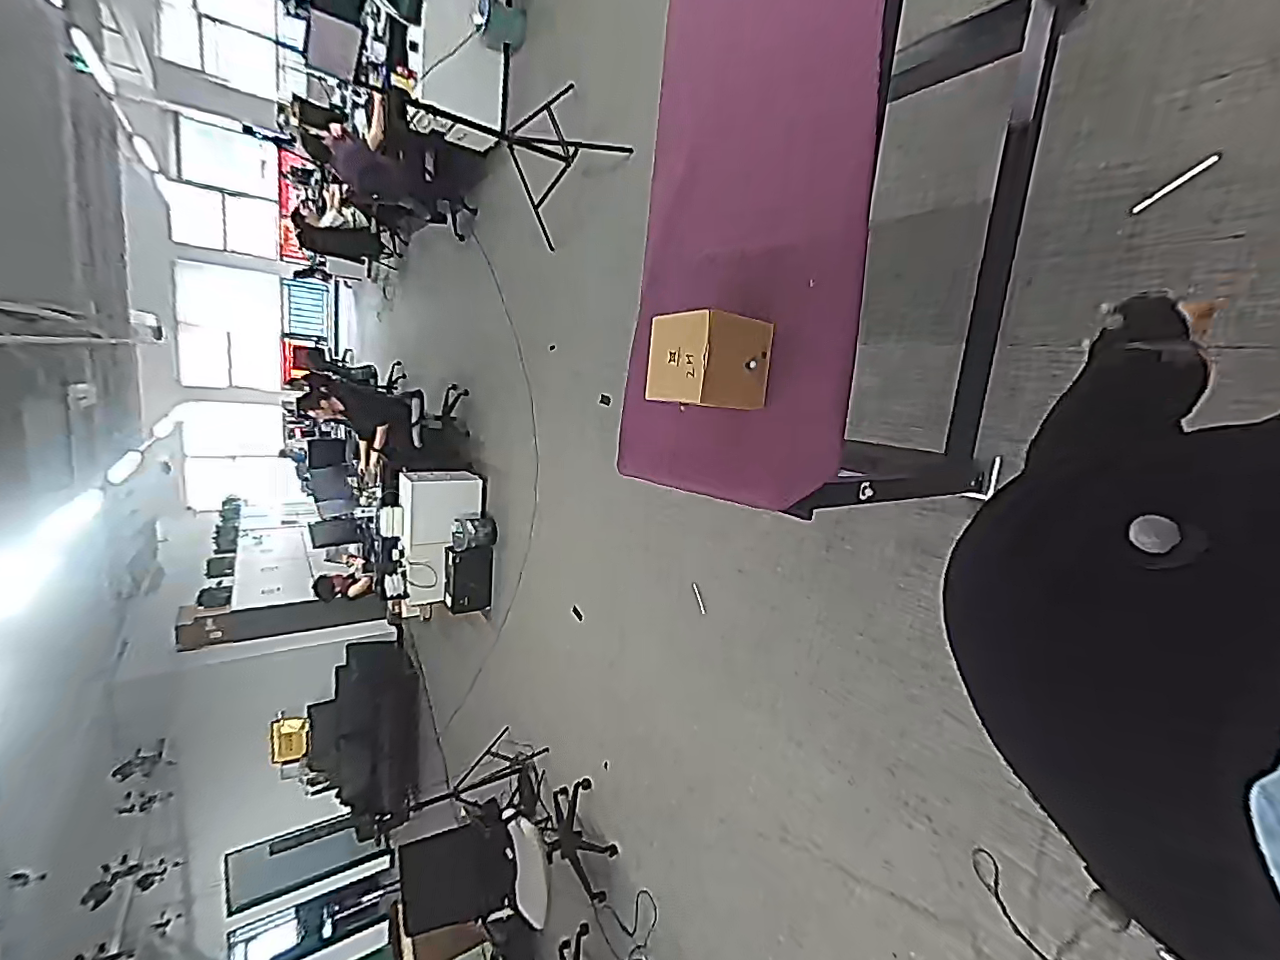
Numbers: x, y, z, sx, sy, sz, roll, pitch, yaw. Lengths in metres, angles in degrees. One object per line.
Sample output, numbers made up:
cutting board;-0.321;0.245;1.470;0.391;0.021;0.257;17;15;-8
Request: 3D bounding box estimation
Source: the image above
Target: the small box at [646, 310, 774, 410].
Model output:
small box;0.134;-0.229;1.061;0.179;0.176;0.168;16;104;54
